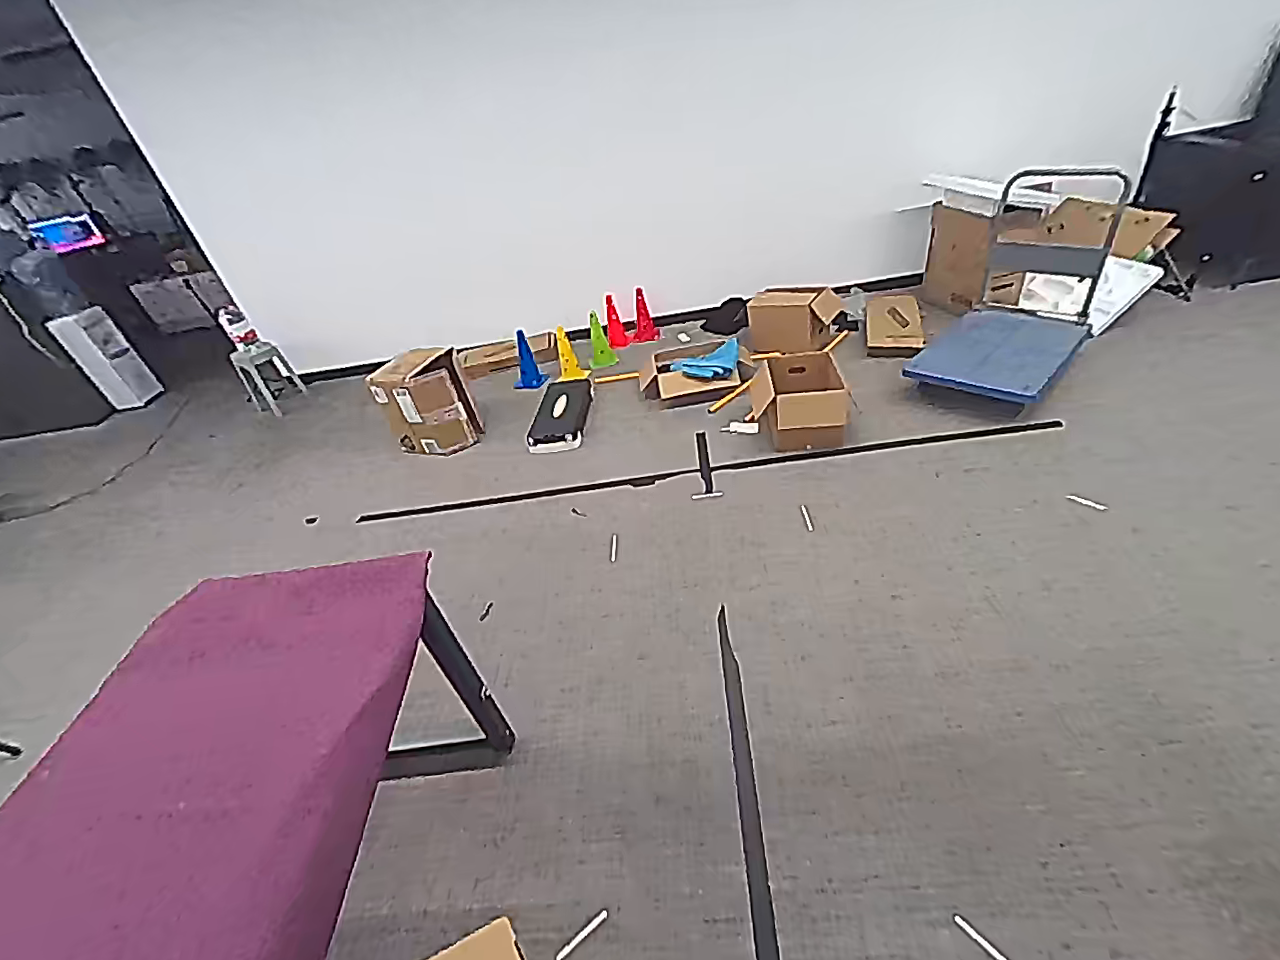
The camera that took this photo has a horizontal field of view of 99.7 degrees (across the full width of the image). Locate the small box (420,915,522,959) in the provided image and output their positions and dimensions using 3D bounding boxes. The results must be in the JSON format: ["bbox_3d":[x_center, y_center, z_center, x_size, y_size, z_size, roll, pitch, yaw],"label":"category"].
[{"bbox_3d":[-0.201,0.618,0.553,0.179,0.176,0.168,-2,28,-39],"label":"small box"}]
